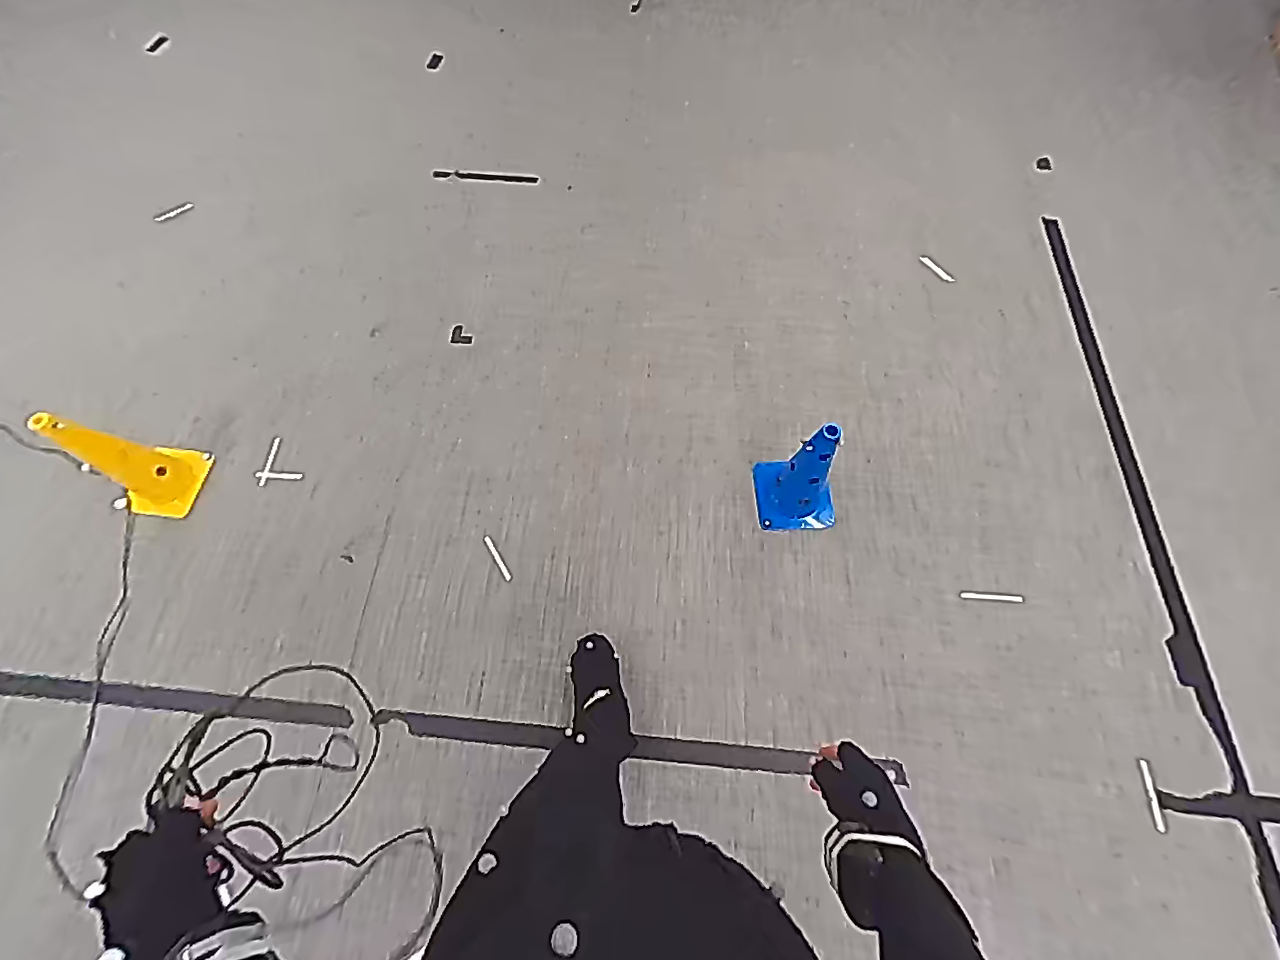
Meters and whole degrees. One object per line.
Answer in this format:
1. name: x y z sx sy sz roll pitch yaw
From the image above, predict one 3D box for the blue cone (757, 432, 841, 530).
1. blue cone: 0.411 -0.022 1.310 0.193 0.380 0.192 -1 67 1
